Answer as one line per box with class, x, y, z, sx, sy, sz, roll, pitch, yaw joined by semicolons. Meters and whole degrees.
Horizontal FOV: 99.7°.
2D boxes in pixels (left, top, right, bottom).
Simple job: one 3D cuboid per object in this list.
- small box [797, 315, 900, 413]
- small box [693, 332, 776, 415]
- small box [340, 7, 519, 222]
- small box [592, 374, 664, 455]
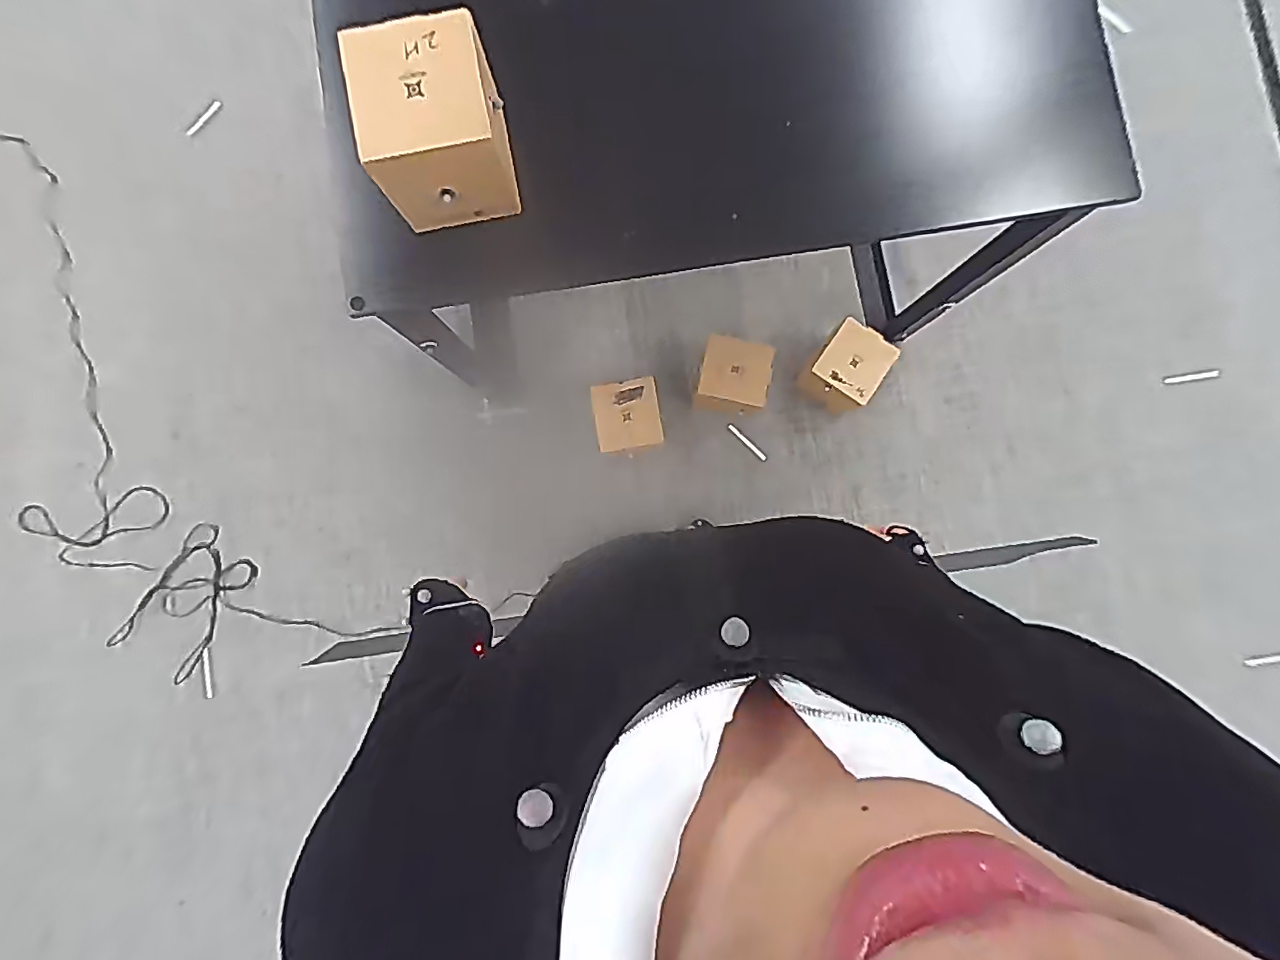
small box;0.550;-0.304;1.457;0.168;0.176;0.179;35;88;3
small box;0.248;-0.280;1.461;0.179;0.176;0.168;12;86;2
small box;-0.275;-0.481;0.743;0.168;0.176;0.179;-11;86;-1
small box;-0.033;-0.170;1.455;0.168;0.176;0.179;-10;88;0
